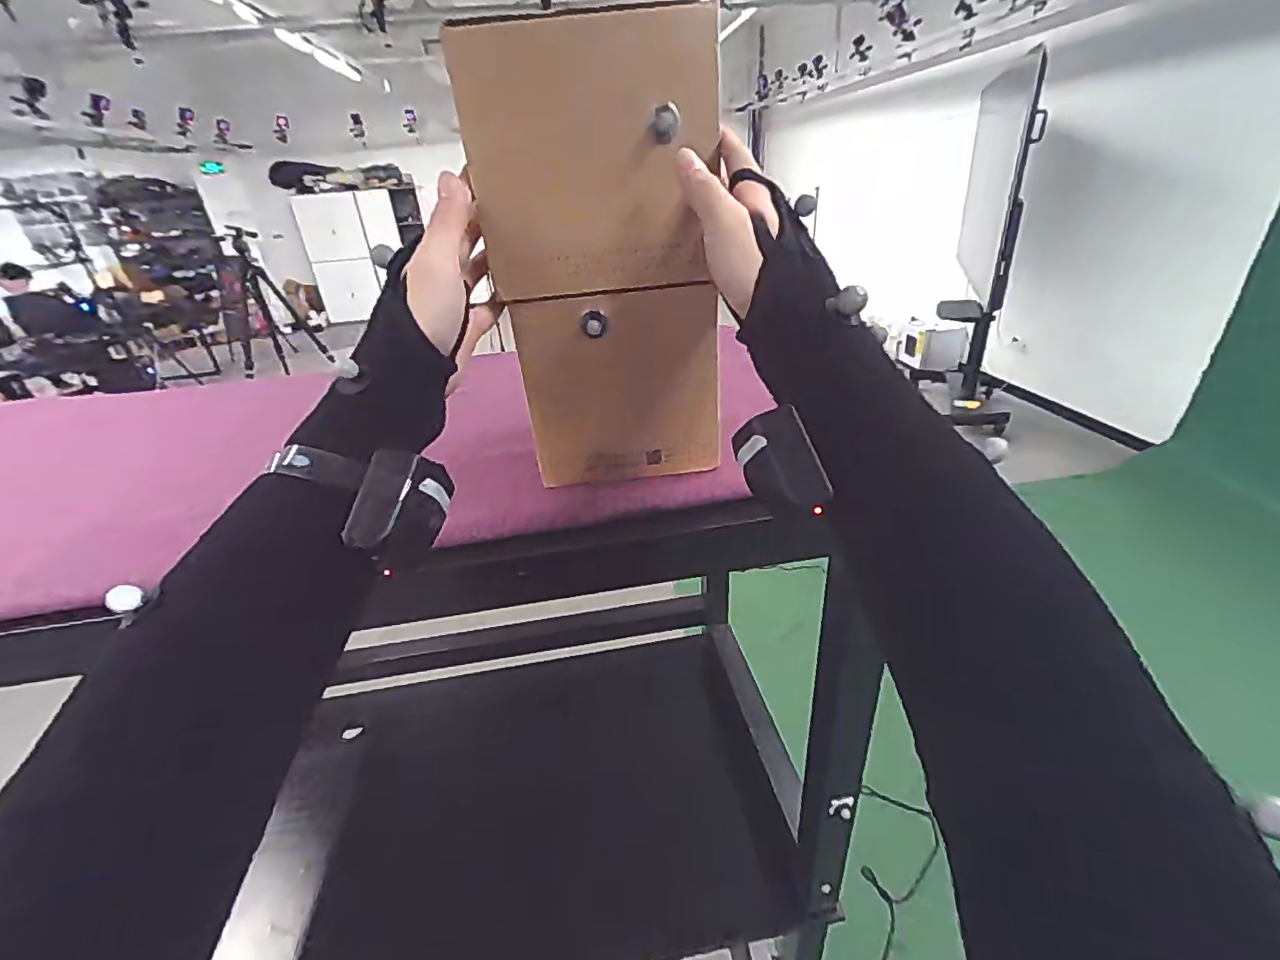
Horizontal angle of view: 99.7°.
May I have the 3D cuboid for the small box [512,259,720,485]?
[{"bbox_3d":[-0.018,-0.112,0.531,0.168,0.176,0.179,-7,29,-1],"label":"small box"}]
